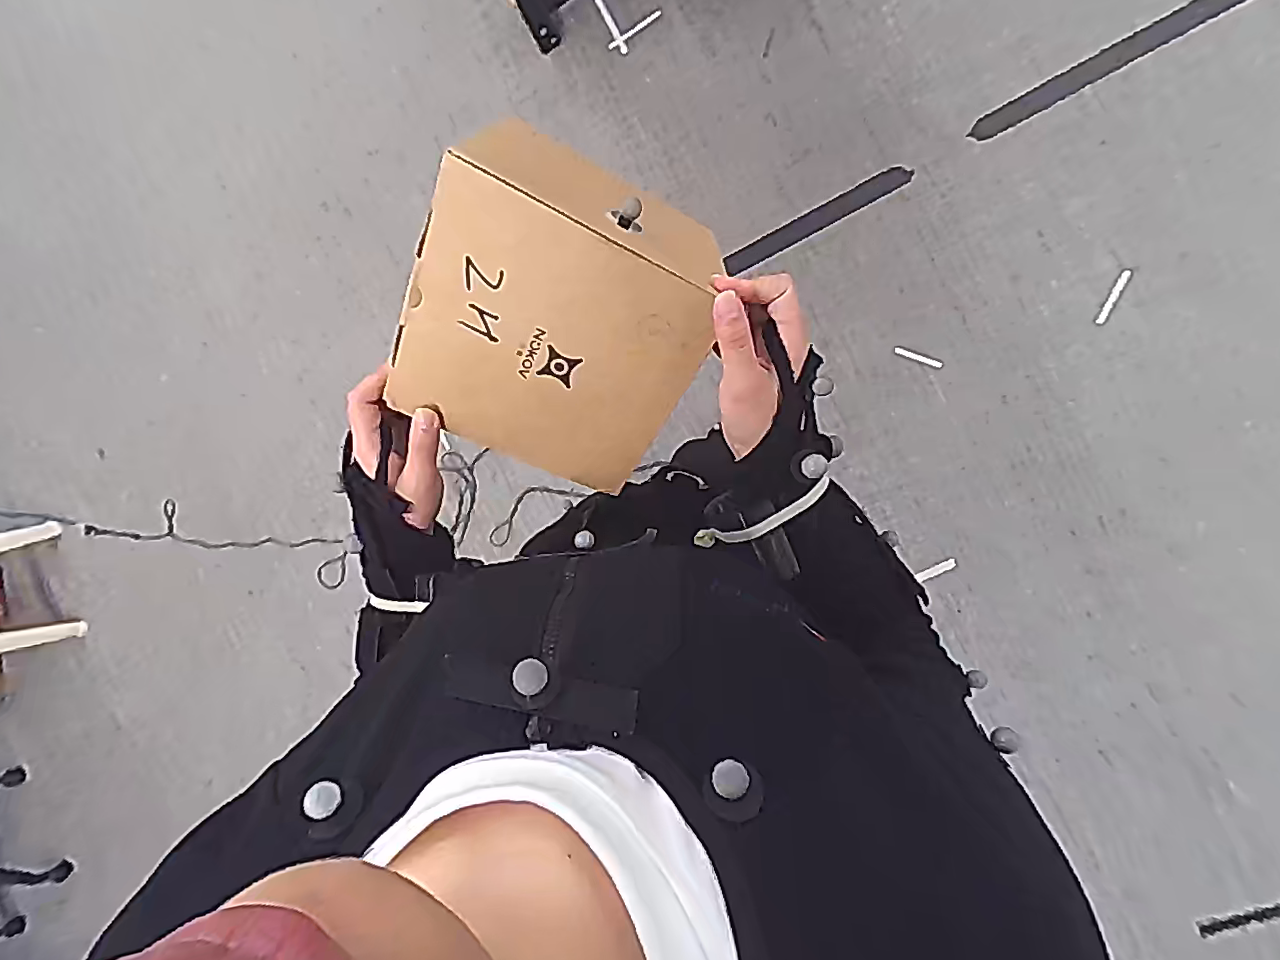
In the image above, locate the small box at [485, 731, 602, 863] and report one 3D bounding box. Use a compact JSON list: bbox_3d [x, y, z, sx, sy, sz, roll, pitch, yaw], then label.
[{"bbox_3d":[-0.211,0.707,1.231,0.168,0.176,0.179,-34,89,12],"label":"small box"}]
